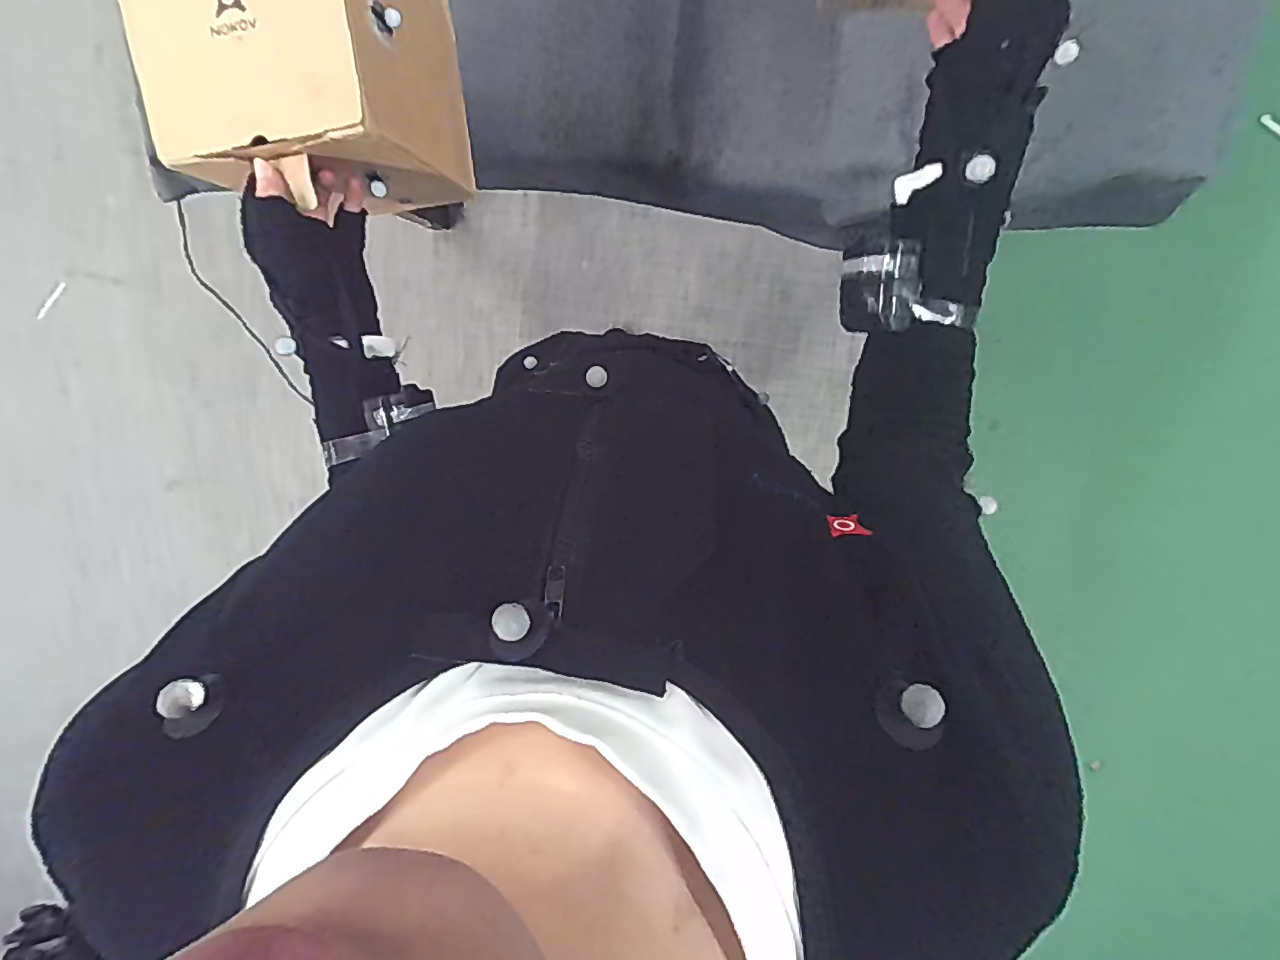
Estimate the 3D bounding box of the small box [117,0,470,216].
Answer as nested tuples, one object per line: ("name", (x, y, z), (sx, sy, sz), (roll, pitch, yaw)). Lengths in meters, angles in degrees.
("small box", (-0.252, -0.324, 0.426), (0.168, 0.176, 0.179), (-4, 101, 9))
